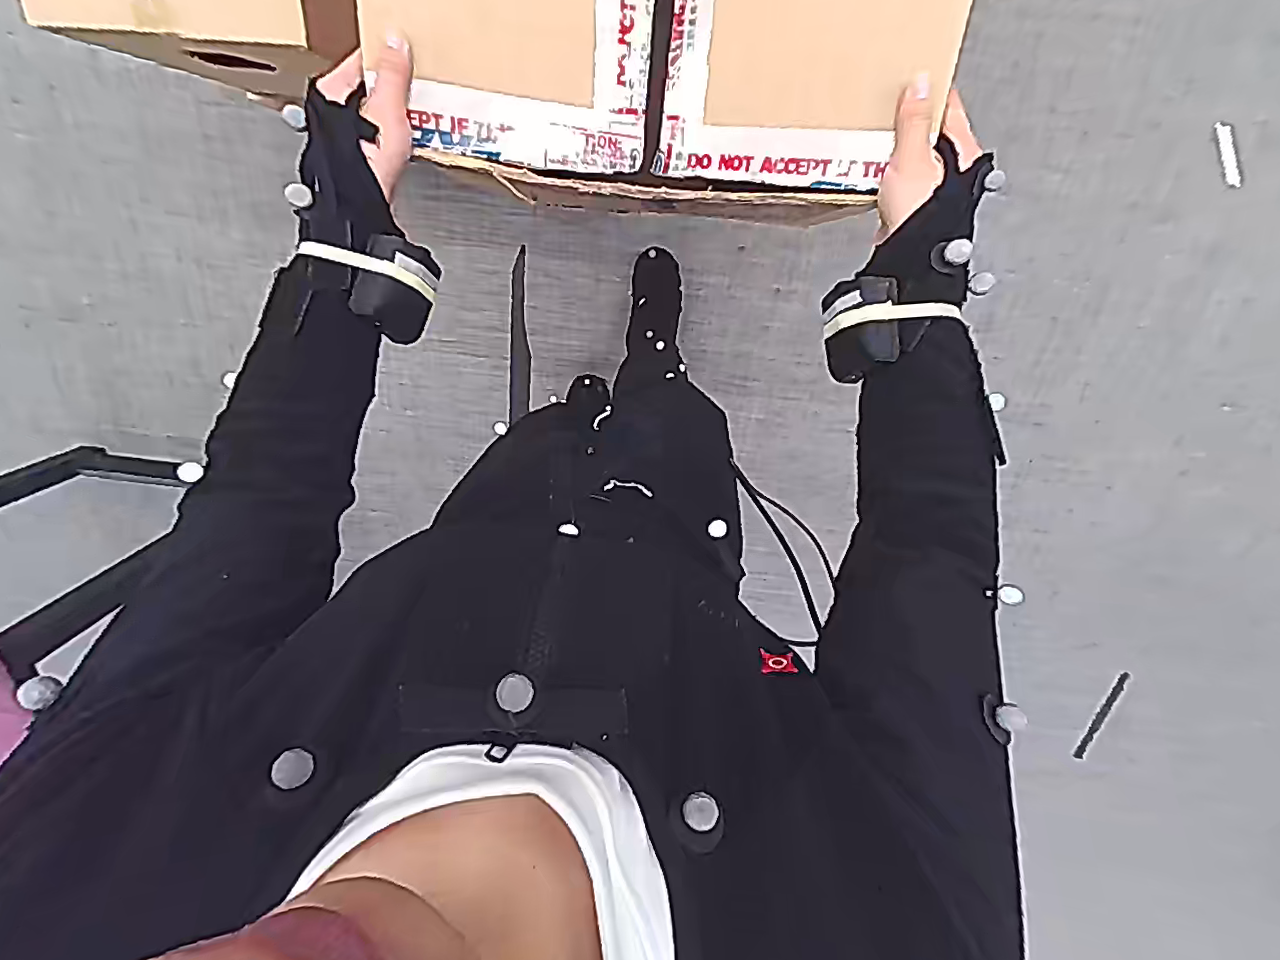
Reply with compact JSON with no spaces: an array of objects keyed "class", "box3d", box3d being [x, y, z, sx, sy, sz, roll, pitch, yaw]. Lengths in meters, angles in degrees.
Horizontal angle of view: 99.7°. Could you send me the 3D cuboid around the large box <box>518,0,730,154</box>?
[{"class":"large box","box3d":[-0.016,-0.798,0.893,0.320,0.320,0.408,5,115,1]}]
